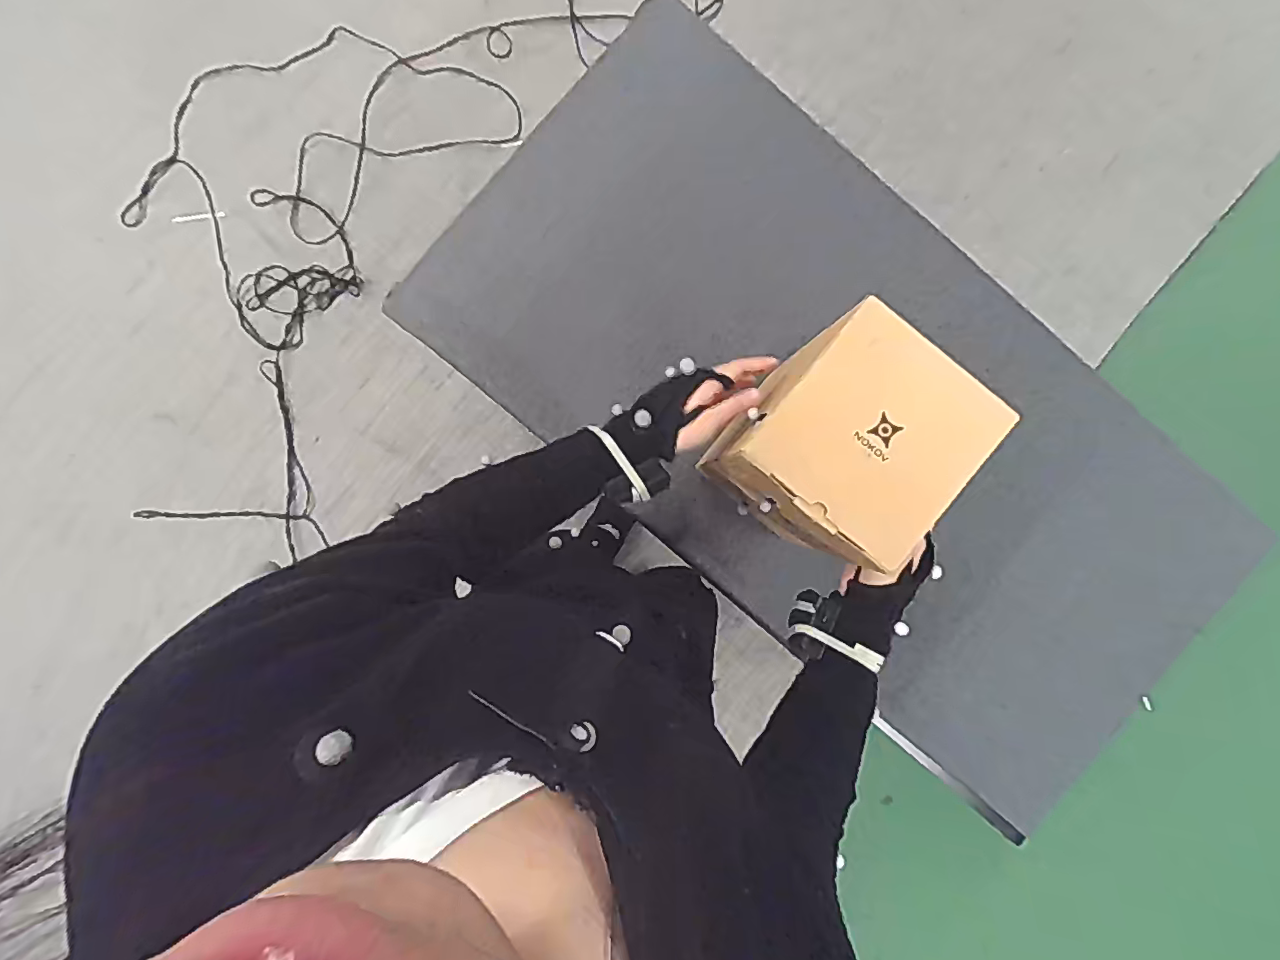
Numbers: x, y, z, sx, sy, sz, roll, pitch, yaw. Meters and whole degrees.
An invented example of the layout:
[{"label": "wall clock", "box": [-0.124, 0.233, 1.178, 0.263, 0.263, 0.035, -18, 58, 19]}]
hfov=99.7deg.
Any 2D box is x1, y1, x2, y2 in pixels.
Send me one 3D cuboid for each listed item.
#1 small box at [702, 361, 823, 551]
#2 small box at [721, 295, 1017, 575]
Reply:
[{"label": "small box", "box": [0.195, -0.035, 0.688, 0.168, 0.176, 0.179, 39, 89, 1]}, {"label": "small box", "box": [0.197, -0.037, 0.526, 0.168, 0.176, 0.179, 39, 89, 0]}]
